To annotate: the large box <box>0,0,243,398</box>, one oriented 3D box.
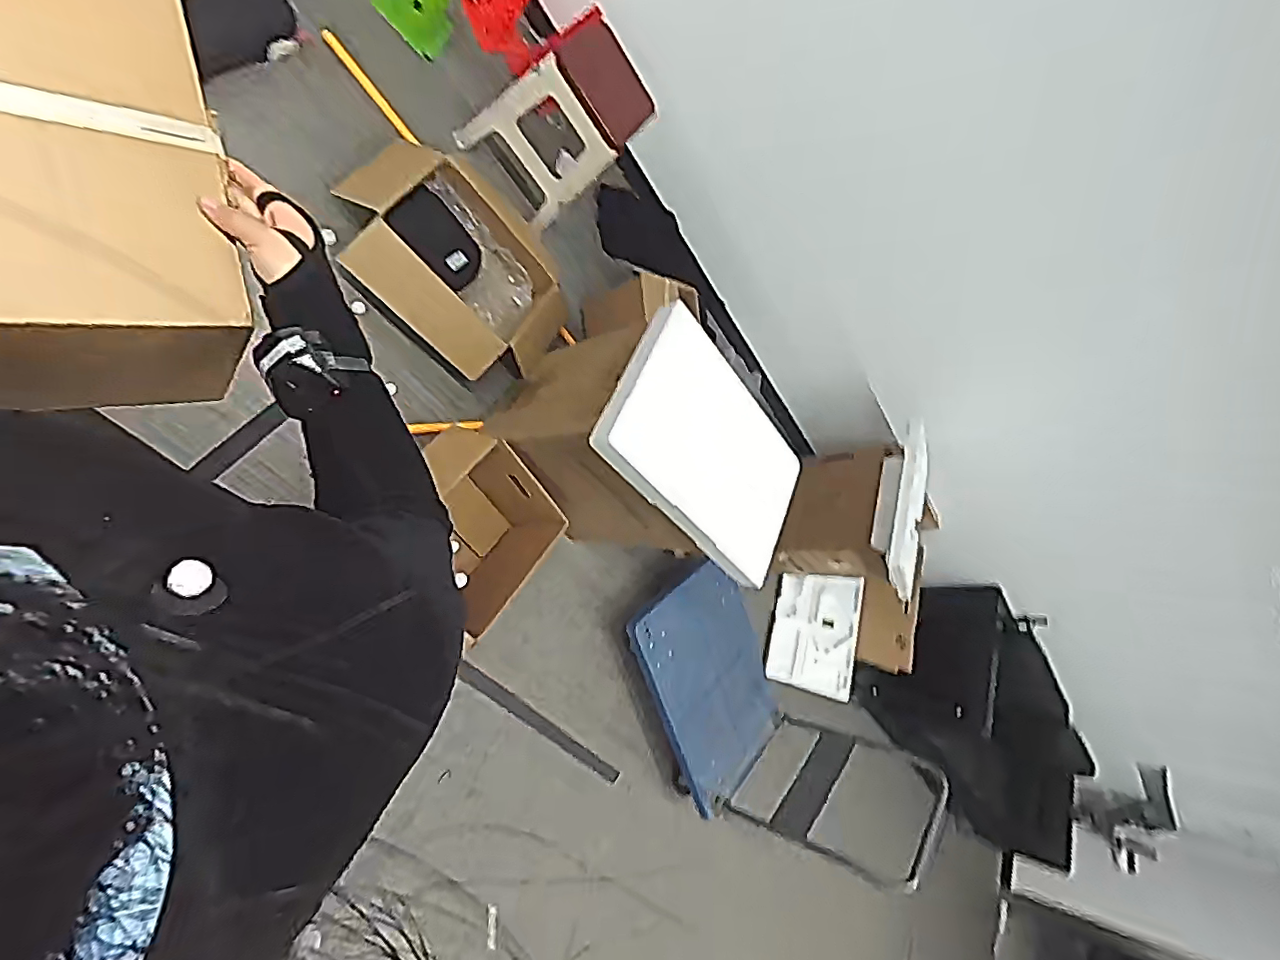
[{"bbox_3d":[-0.620,-0.242,0.442,0.408,0.320,0.320,-15,94,-42],"label":"large box"}]
